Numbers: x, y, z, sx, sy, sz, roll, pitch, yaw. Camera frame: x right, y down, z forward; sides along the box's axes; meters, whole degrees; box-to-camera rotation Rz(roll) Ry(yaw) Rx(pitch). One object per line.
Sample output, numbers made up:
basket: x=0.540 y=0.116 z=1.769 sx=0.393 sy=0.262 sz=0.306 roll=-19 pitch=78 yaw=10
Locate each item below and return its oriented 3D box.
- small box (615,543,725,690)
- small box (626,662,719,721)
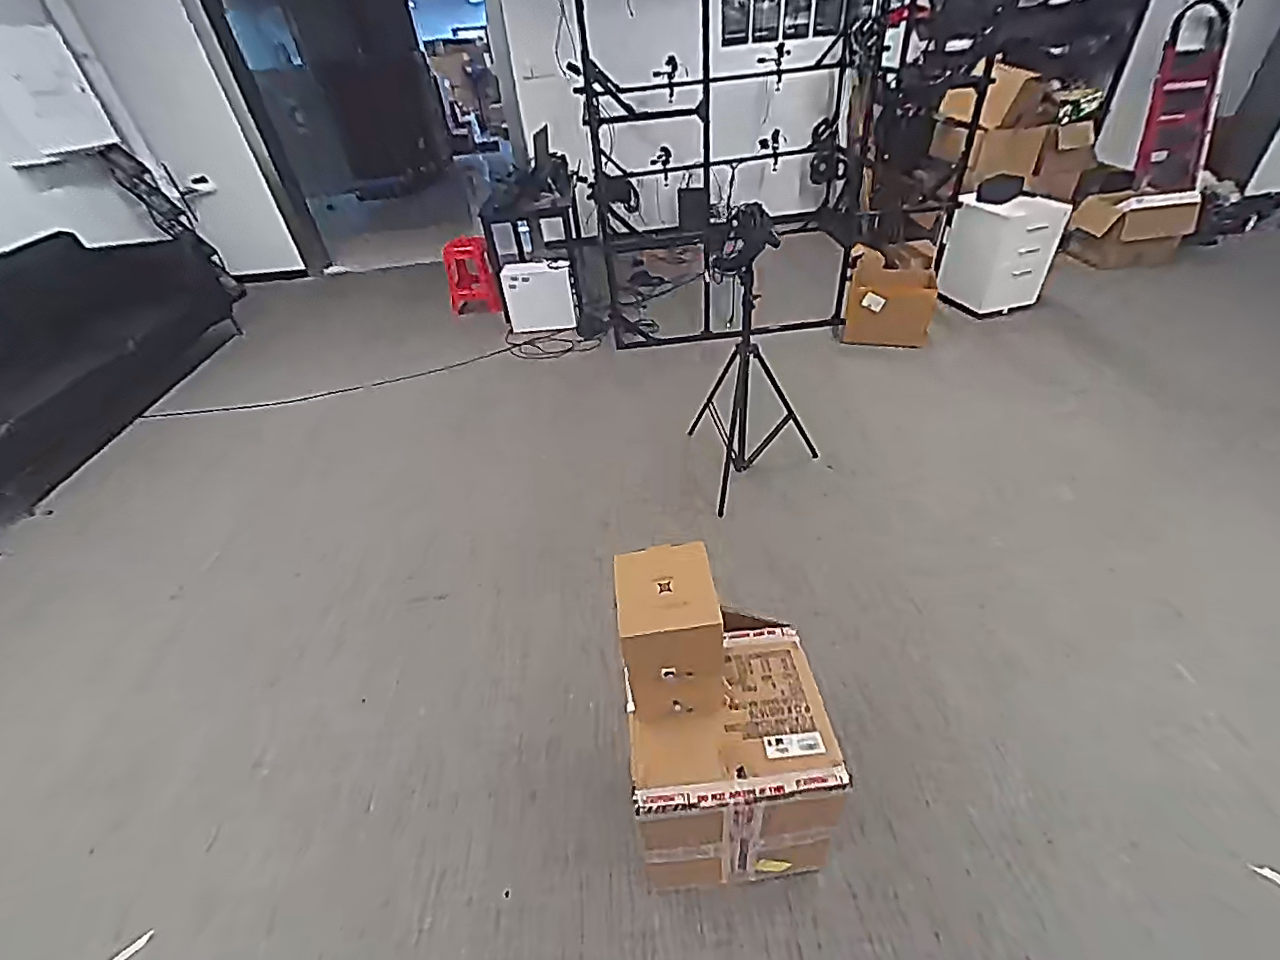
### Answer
small box: x=0.051 y=0.239 z=0.950 sx=0.168 sy=0.176 sz=0.179 roll=-9 pitch=42 yaw=0
small box: x=0.060 y=0.348 z=1.072 sx=0.168 sy=0.176 sz=0.179 roll=-8 pitch=41 yaw=0
